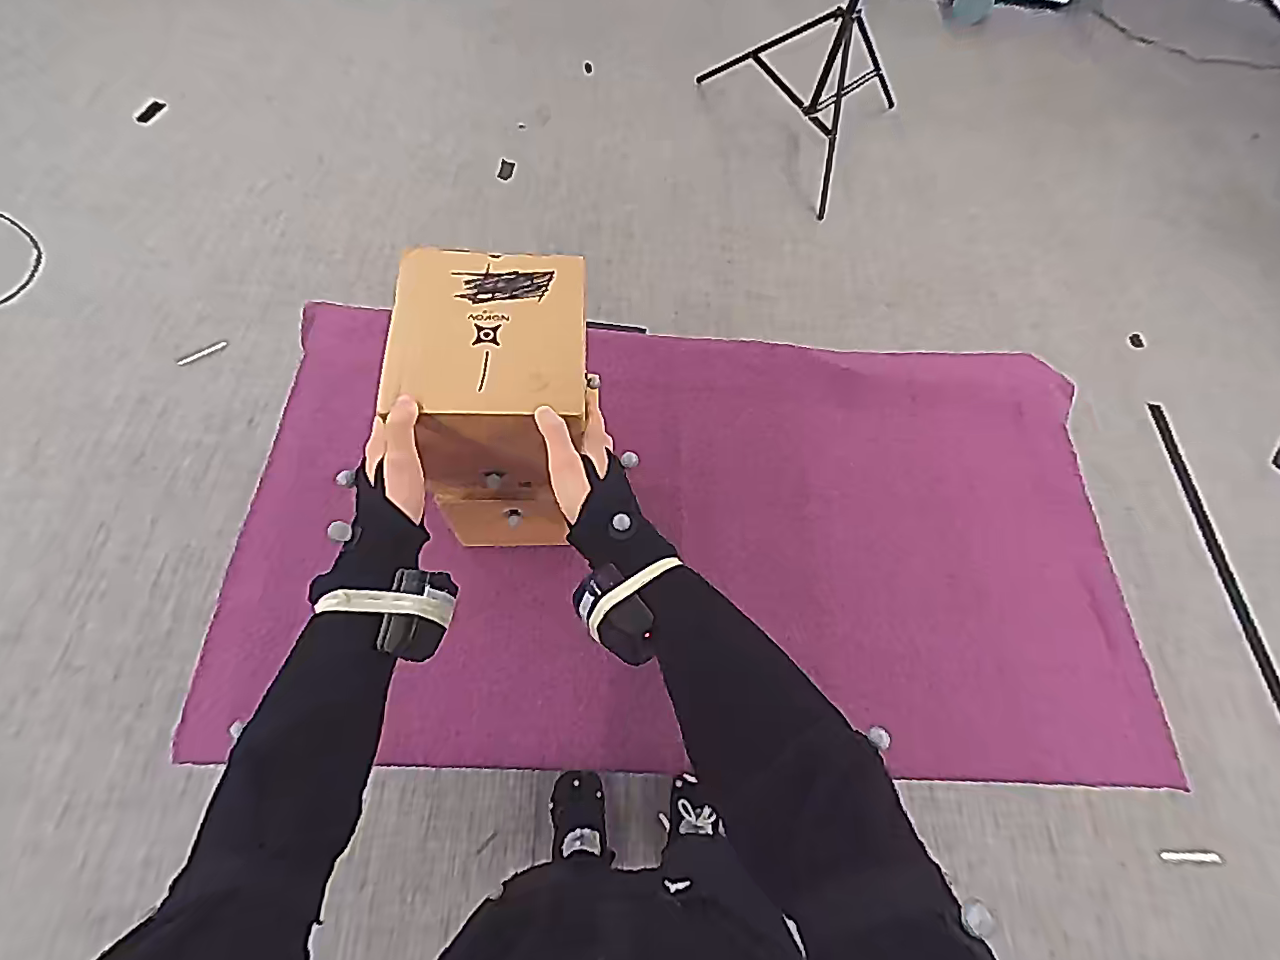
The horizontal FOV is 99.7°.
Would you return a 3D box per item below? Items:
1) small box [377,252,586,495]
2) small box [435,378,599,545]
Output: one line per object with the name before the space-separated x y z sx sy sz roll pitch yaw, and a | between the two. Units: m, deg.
small box | -0.139 -0.097 0.542 0.168 0.176 0.179 0 67 -6
small box | -0.144 -0.019 0.687 0.179 0.176 0.168 0 67 -6
